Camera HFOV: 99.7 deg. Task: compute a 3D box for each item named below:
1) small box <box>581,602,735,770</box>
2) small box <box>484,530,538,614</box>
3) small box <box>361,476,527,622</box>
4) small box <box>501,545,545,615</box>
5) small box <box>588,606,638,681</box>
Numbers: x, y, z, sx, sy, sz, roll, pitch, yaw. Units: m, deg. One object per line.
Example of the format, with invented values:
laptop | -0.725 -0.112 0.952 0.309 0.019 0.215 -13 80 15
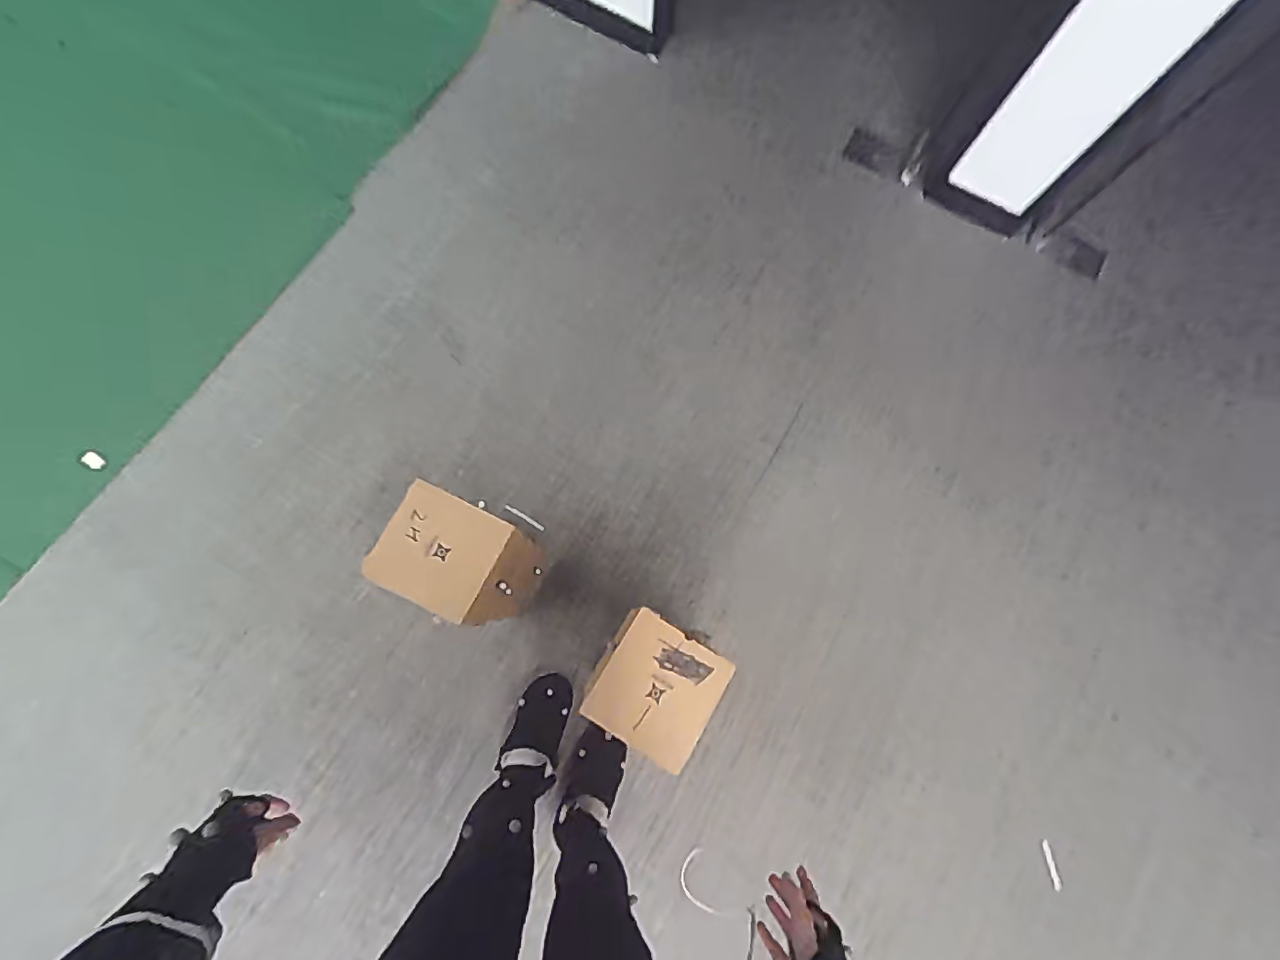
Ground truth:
small box | 0.023 0.313 0.857 0.168 0.176 0.179 32 76 6
small box | -0.318 0.154 1.050 0.179 0.176 0.168 26 76 4
small box | -0.304 0.119 0.888 0.179 0.176 0.168 27 75 4
small box | -0.329 0.188 1.210 0.179 0.176 0.168 26 75 5
small box | 0.005 0.394 1.177 0.168 0.176 0.179 32 76 5
